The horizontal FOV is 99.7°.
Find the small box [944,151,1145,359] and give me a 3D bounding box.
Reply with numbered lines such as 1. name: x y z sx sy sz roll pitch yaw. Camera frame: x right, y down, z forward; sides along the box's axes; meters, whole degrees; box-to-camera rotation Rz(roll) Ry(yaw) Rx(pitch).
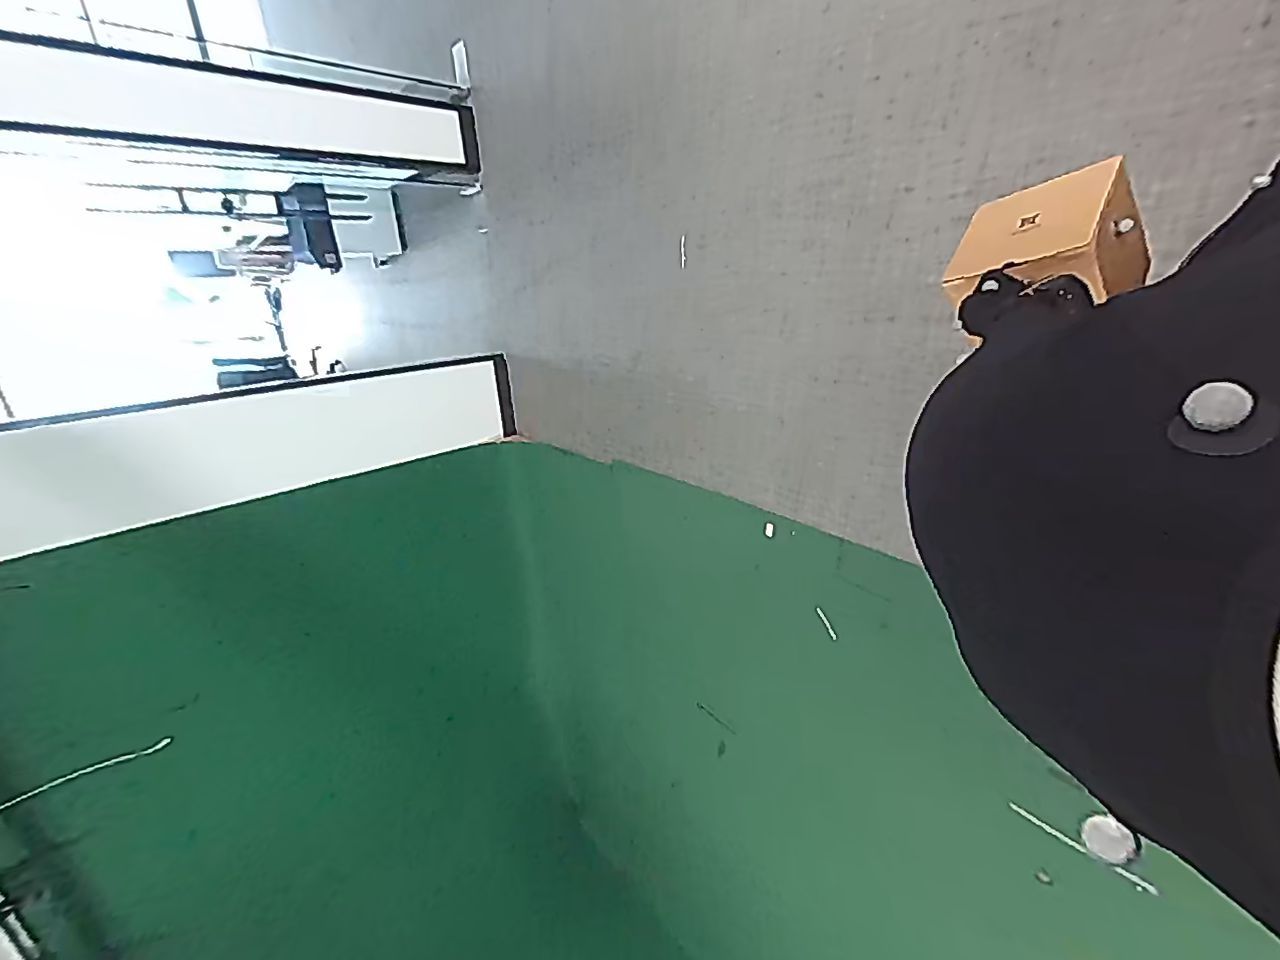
1. small box: 0.558 -0.294 0.742 0.176 0.179 0.168 43 159 -28
